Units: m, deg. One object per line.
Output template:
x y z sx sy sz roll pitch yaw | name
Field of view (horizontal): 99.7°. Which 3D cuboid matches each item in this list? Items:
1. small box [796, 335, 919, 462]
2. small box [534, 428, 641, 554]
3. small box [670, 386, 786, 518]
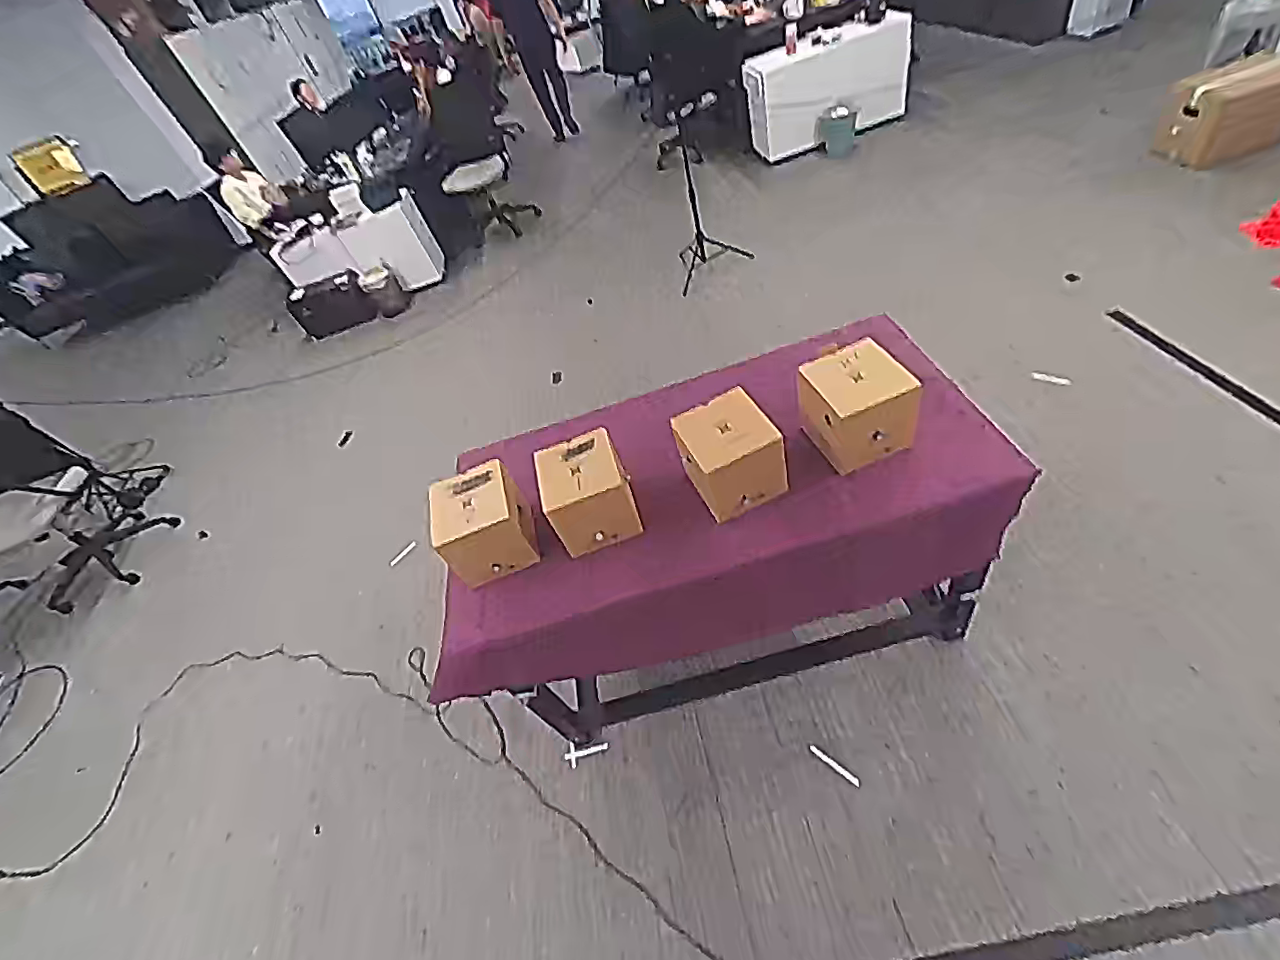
0.439 -0.158 1.105 0.168 0.176 0.179 -23 46 0 | small box
-0.111 0.025 1.150 0.168 0.176 0.179 -21 47 2 | small box
0.182 -0.056 1.113 0.168 0.176 0.179 -26 46 -2 | small box
